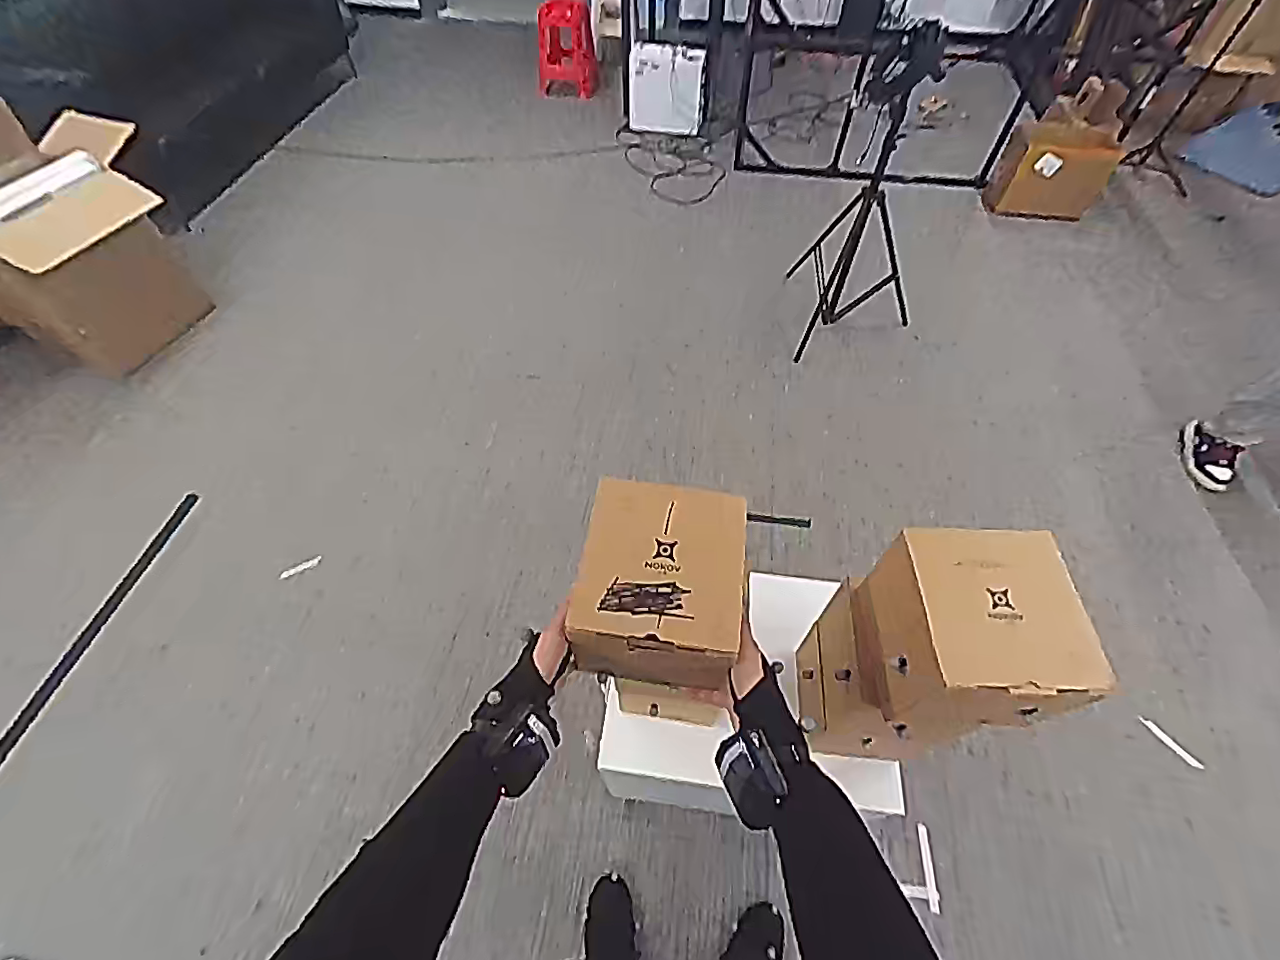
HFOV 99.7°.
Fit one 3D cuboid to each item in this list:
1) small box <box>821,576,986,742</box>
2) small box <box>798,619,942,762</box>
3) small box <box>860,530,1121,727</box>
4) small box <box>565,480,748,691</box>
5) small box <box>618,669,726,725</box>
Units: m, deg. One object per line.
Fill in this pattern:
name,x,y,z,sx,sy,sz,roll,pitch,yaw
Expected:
small box,0.362,0.257,0.760,0.168,0.176,0.179,5,55,5
small box,0.364,0.351,0.895,0.168,0.176,0.179,4,55,5
small box,0.372,0.175,0.619,0.168,0.176,0.179,1,55,1
small box,0.022,0.125,0.610,0.168,0.176,0.179,8,57,4
small box,0.061,0.308,0.931,0.168,0.176,0.179,7,55,5
